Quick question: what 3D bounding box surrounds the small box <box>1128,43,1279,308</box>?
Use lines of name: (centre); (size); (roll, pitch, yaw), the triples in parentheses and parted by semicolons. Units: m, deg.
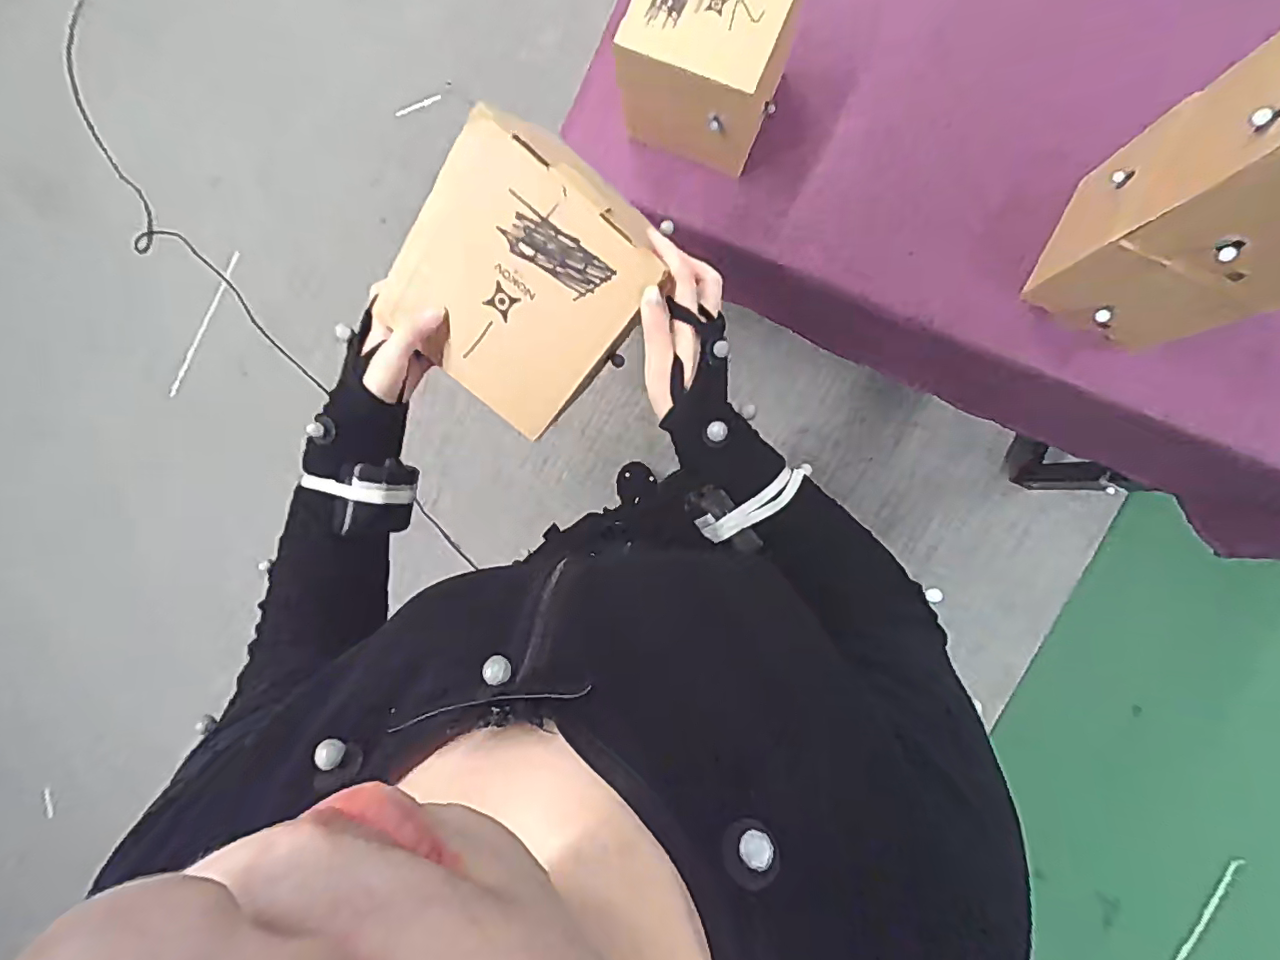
small box: (0.601, -0.283, 0.476); (0.168, 0.176, 0.179); (28, 93, 4)

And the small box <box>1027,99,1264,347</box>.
small box: (0.612, -0.284, 0.638); (0.168, 0.176, 0.179); (28, 92, 5)
